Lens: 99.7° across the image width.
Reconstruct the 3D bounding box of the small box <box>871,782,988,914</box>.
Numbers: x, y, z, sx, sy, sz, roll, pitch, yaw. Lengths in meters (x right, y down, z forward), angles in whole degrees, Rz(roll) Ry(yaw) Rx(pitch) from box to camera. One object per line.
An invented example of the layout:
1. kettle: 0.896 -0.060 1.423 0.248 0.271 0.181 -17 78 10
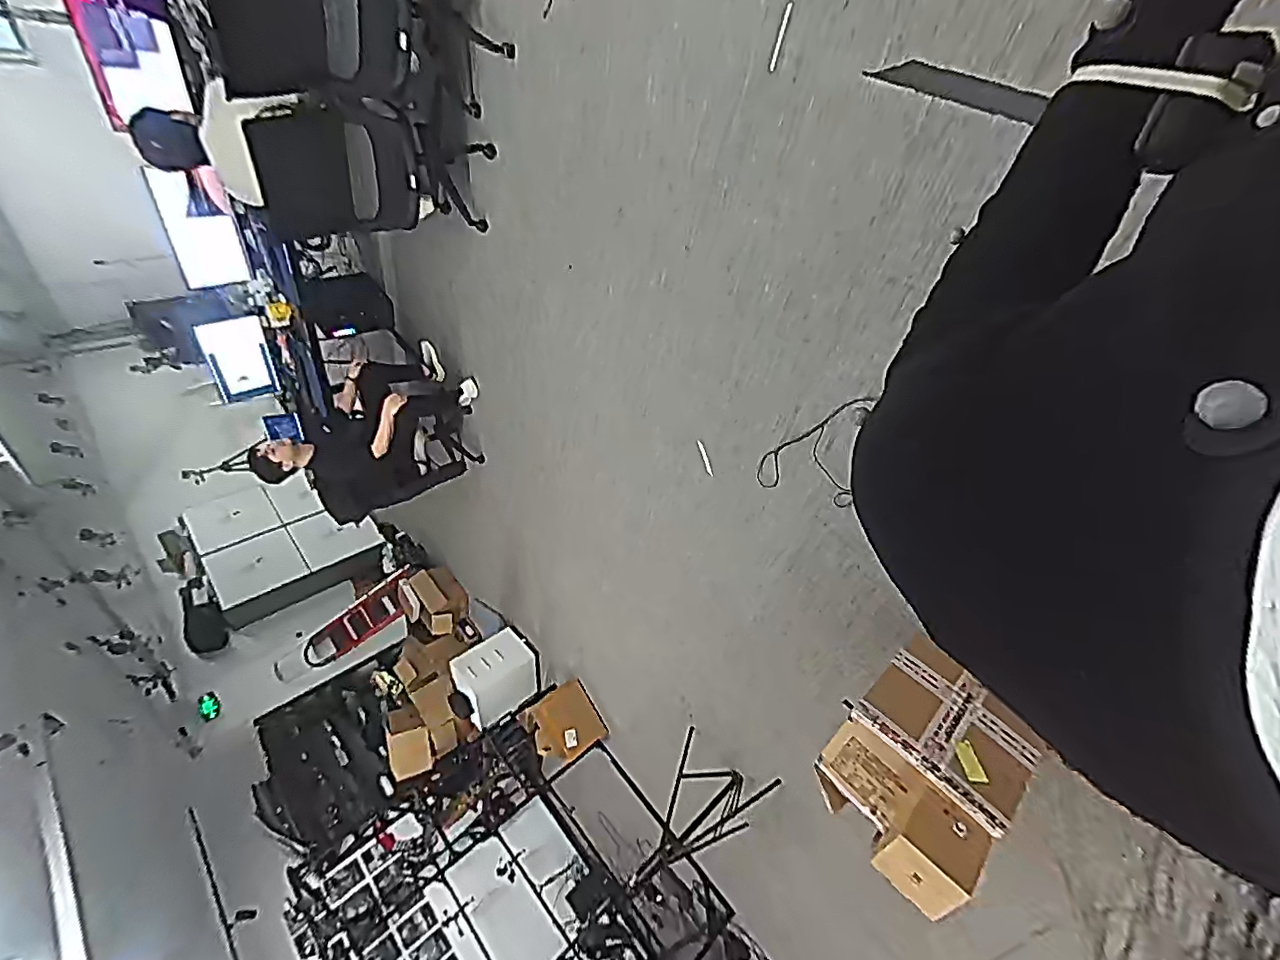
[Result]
1. small box: 0.697 0.877 1.298 0.168 0.176 0.179 36 132 30
